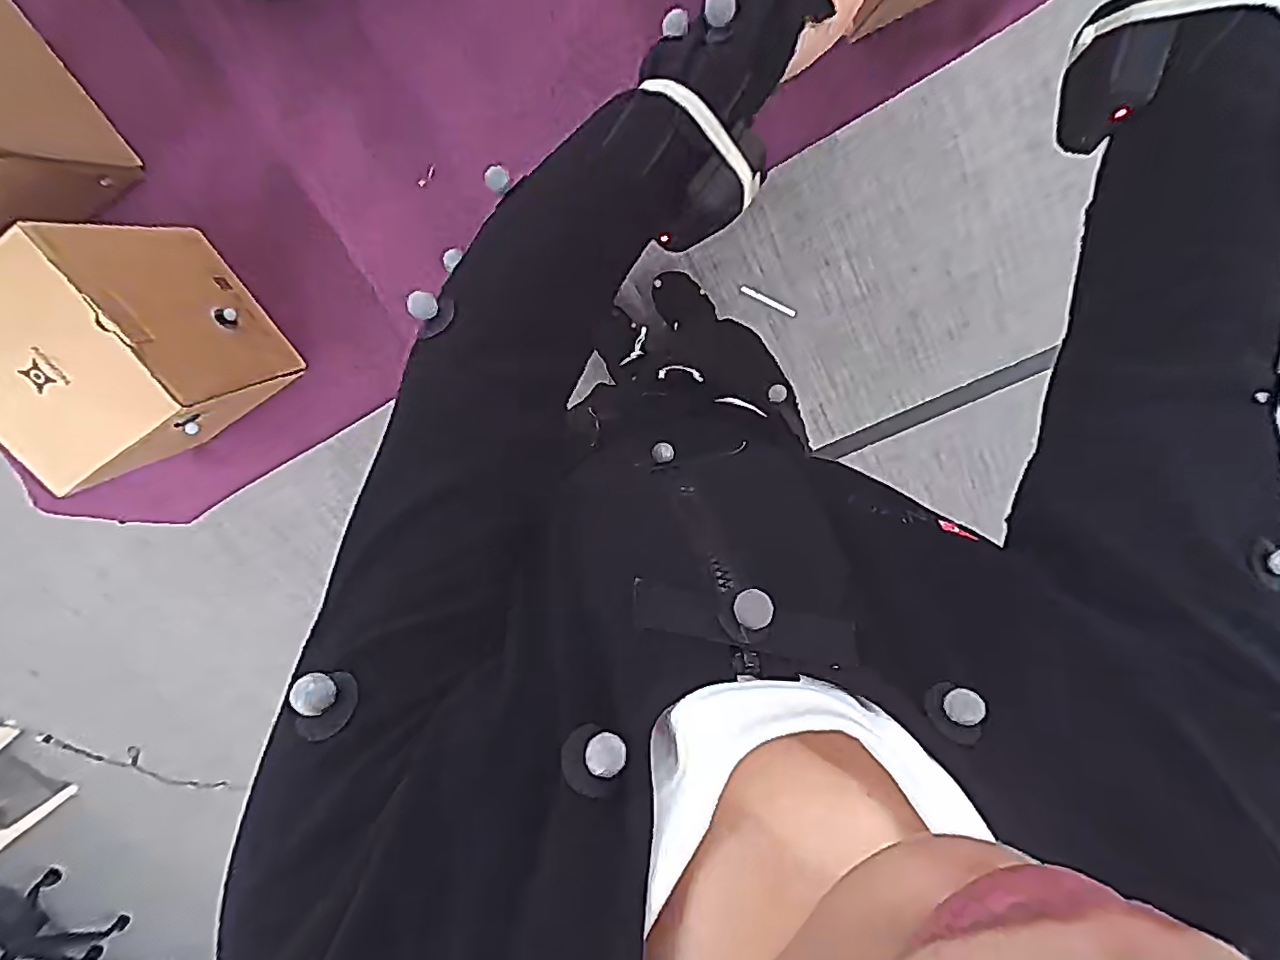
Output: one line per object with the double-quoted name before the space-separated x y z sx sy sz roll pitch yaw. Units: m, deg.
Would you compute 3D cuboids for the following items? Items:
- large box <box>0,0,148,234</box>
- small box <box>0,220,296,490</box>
"large box" -0.708 -0.339 0.359 0.320 0.320 0.408 -27 112 13
"small box" -0.489 -0.122 0.522 0.179 0.176 0.168 -28 108 14
